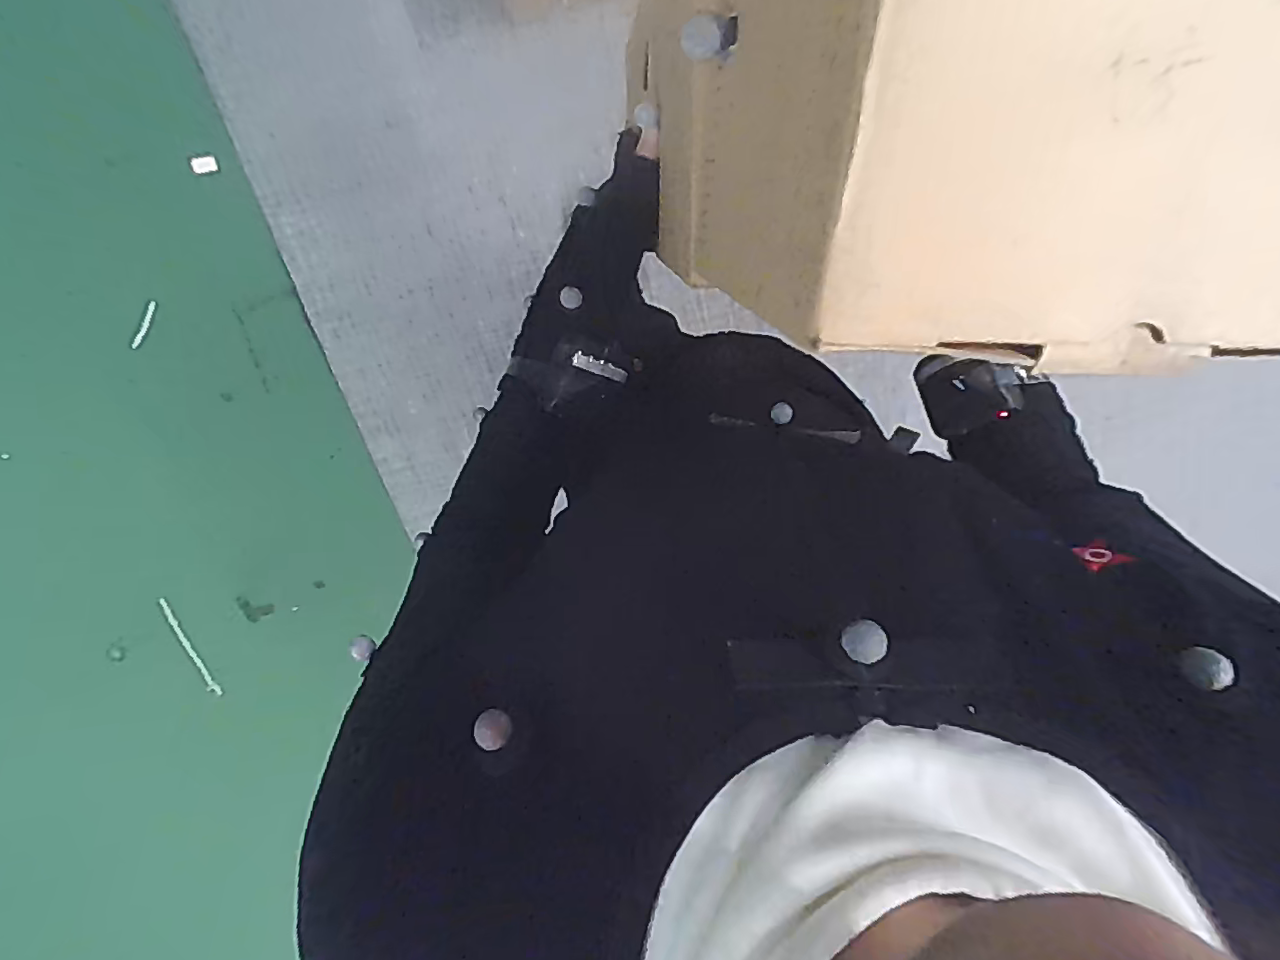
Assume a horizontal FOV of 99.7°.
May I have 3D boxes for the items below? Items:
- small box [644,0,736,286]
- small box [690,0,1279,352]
[{"bbox_3d":[0.102,-0.218,0.318,0.179,0.176,0.168,-6,118,-2],"label":"small box"},{"bbox_3d":[0.112,-0.151,0.170,0.168,0.176,0.179,0,119,-5],"label":"small box"}]
